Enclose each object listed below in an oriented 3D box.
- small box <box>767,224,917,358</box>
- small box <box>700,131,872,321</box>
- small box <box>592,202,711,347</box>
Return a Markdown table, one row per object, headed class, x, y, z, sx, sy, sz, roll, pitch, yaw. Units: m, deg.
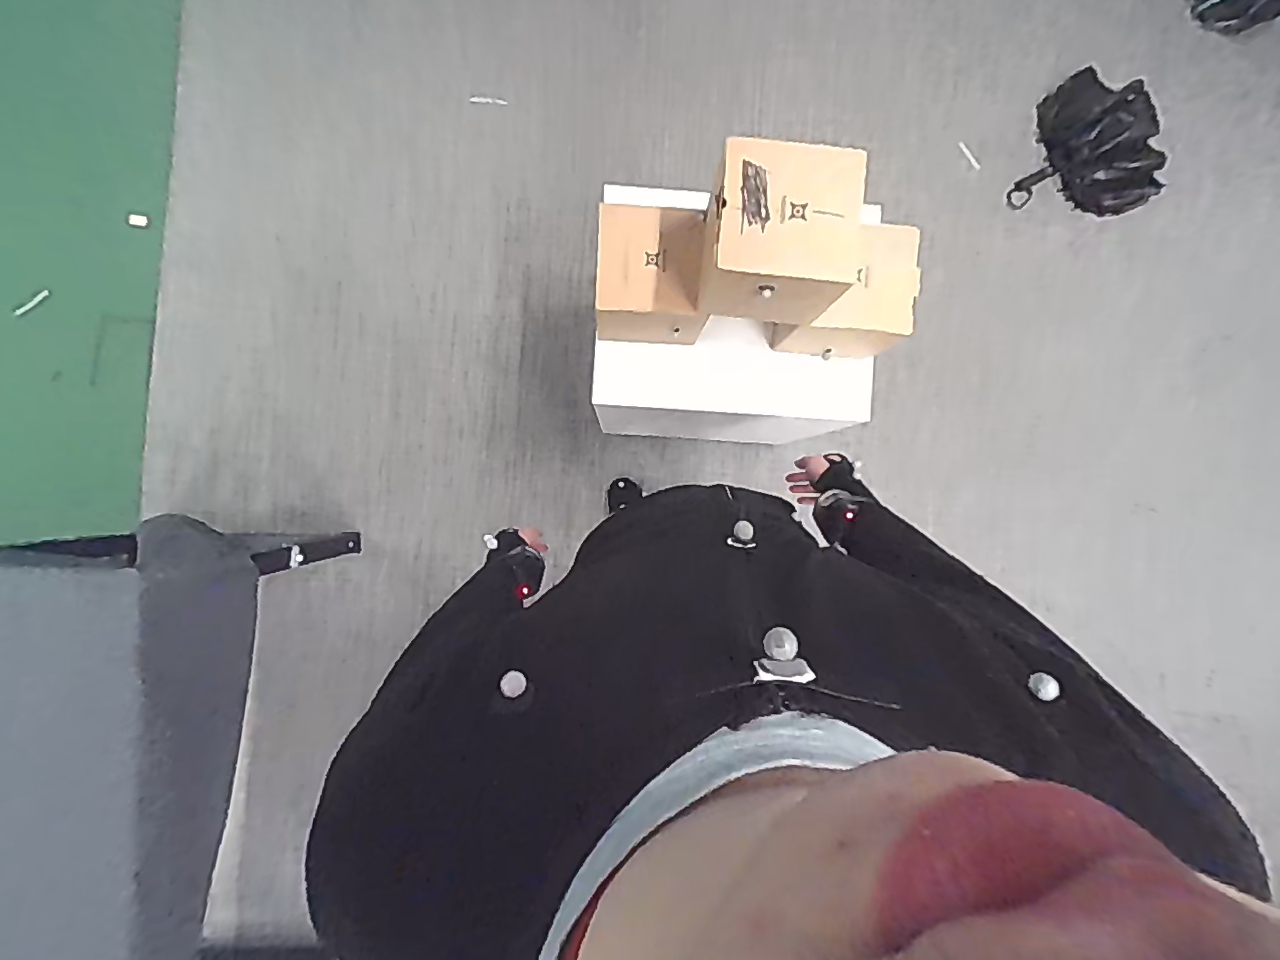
| class | x | y | z | sx | sy | sz | roll | pitch | yaw |
| --- | --- | --- | --- | --- | --- | --- | --- | --- | --- |
| small box | 0.324 | -0.304 | 0.892 | 0.179 | 0.176 | 0.168 | 3 | 89 | -3 |
| small box | 0.180 | -0.321 | 0.717 | 0.179 | 0.176 | 0.168 | 4 | 88 | -4 |
| small box | 0.012 | -0.318 | 0.868 | 0.179 | 0.176 | 0.168 | 1 | 87 | -4 |
